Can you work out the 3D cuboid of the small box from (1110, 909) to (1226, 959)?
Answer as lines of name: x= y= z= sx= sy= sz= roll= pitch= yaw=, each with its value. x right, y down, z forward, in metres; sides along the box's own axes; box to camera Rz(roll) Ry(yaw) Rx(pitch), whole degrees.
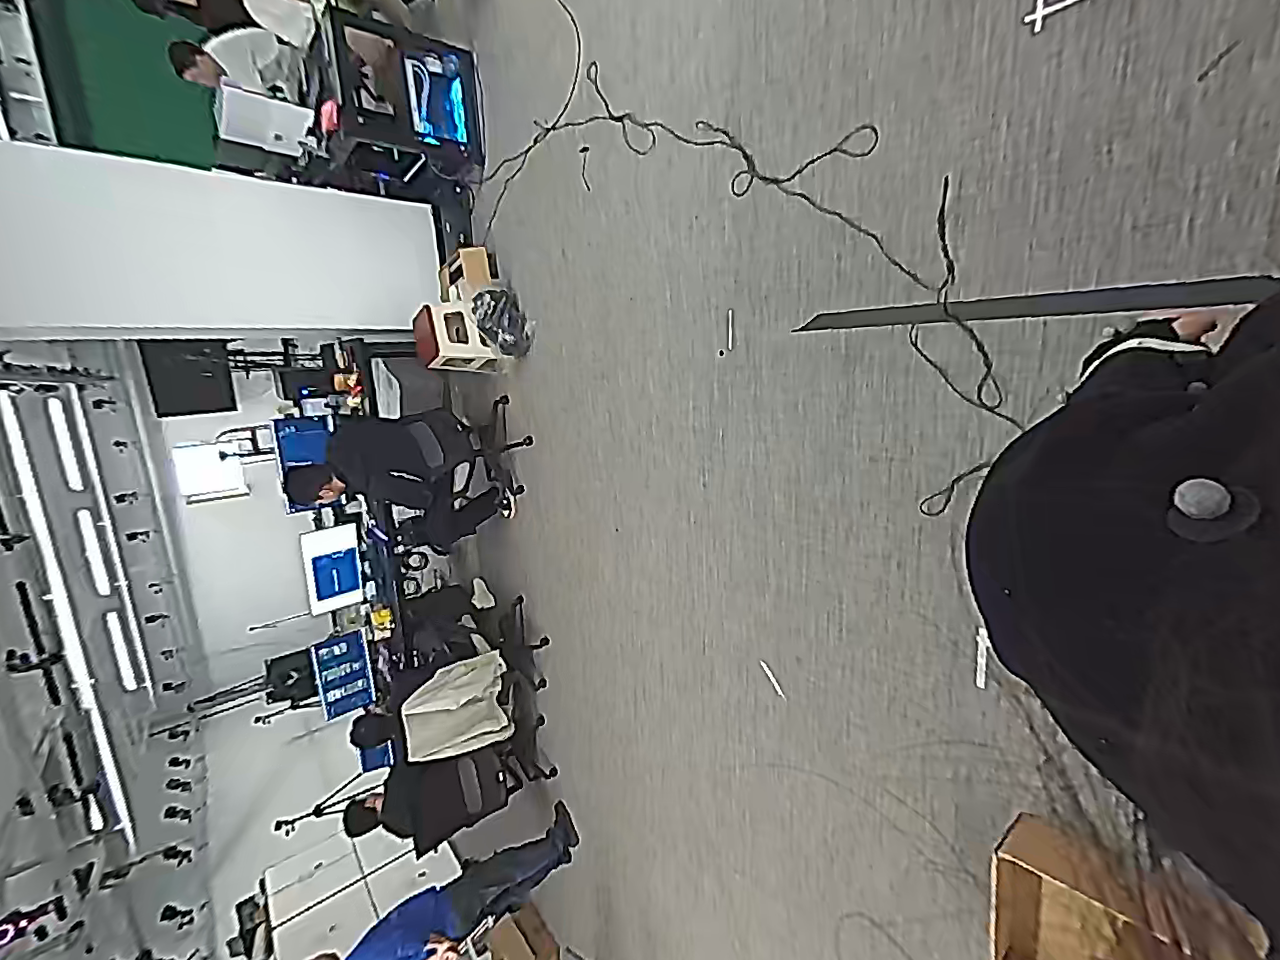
small box: x=1.143 y=1.097 z=1.165 sx=0.168 sy=0.176 sz=0.179 roll=-1 pitch=99 yaw=51
